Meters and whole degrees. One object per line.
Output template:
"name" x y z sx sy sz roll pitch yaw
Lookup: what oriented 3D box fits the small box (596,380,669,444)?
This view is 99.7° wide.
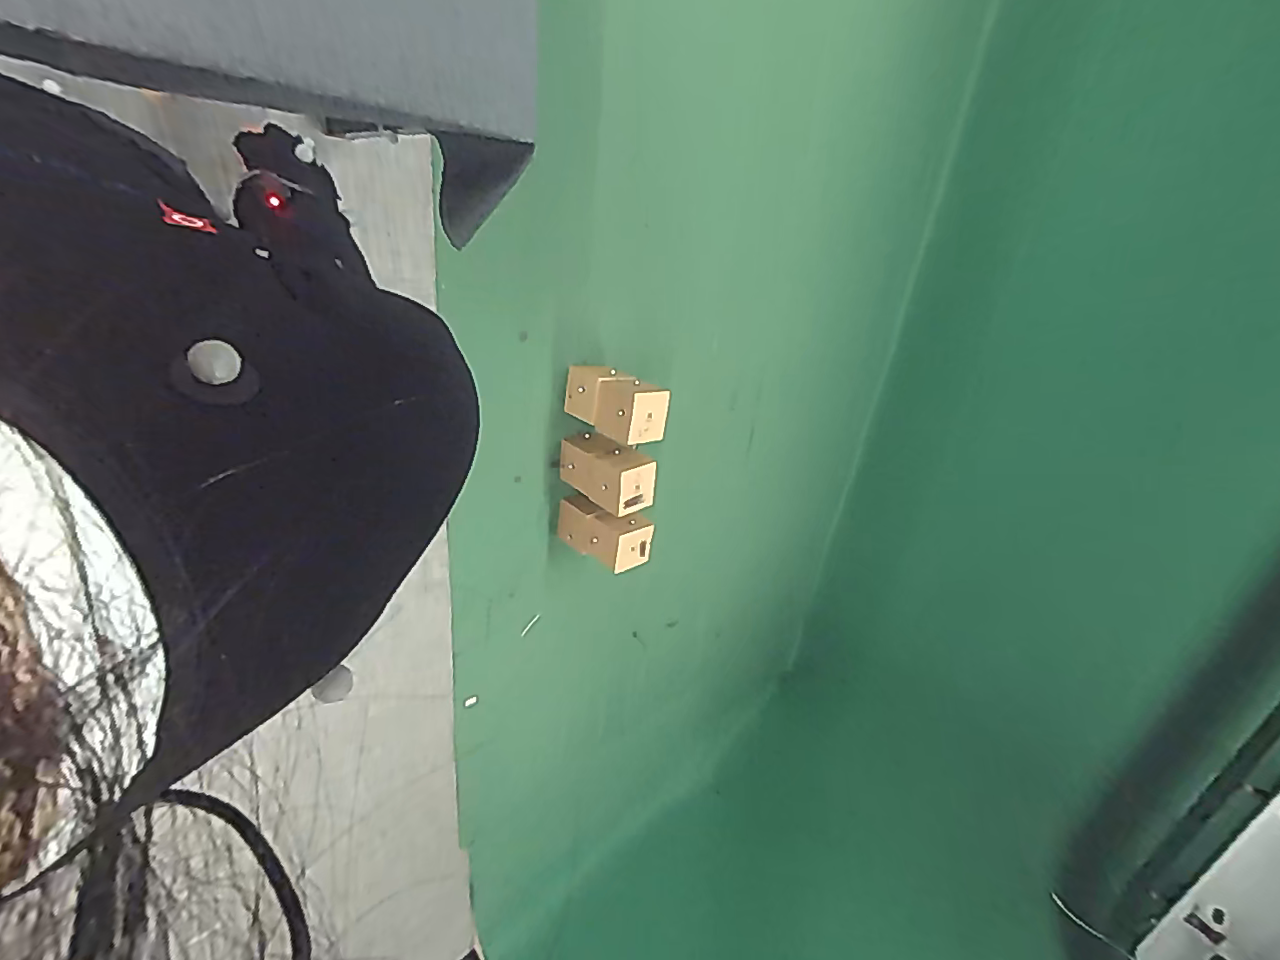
"small box" -0.030 -0.236 1.814 0.168 0.176 0.179 -12 120 -43

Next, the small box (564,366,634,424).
"small box" -0.149 -0.303 1.908 0.179 0.176 0.168 -11 119 -44

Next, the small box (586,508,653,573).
"small box" -0.078 0.220 2.035 0.179 0.176 0.168 -15 123 -42

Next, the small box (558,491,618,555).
"small box" -0.207 0.164 2.122 0.168 0.176 0.179 -13 120 -43
